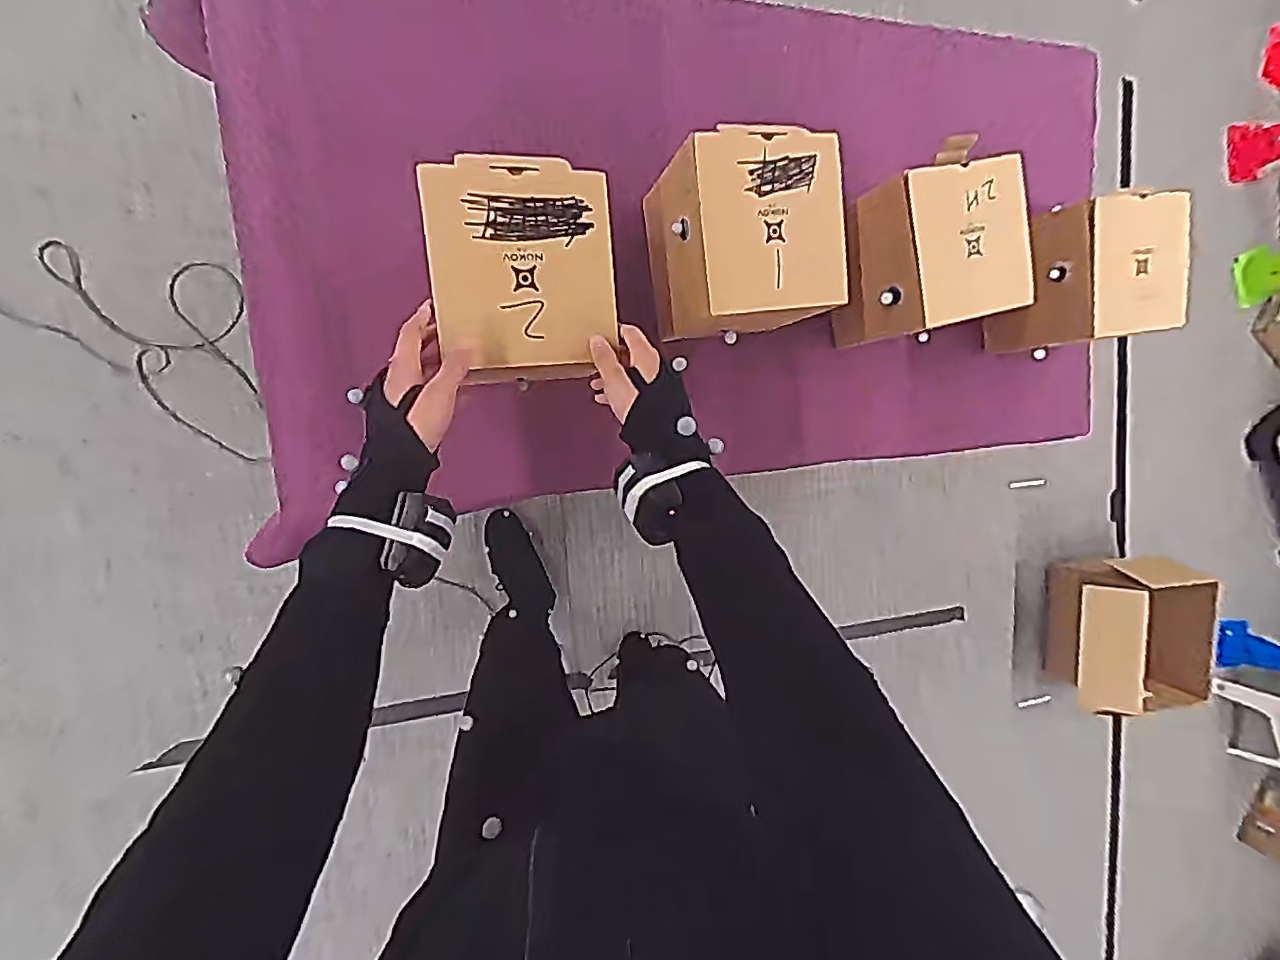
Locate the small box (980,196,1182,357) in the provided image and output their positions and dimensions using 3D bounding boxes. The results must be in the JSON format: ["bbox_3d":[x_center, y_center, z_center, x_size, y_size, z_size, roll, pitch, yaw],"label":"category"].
[{"bbox_3d":[0.622,-0.284,0.780,0.168,0.176,0.179,-9,97,-14],"label":"small box"}]

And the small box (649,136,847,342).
[{"bbox_3d":[0.116,-0.270,0.636,0.168,0.176,0.179,-9,98,-15],"label":"small box"}]

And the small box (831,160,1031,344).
[{"bbox_3d":[0.361,-0.281,0.704,0.168,0.176,0.179,-15,99,-15],"label":"small box"}]
